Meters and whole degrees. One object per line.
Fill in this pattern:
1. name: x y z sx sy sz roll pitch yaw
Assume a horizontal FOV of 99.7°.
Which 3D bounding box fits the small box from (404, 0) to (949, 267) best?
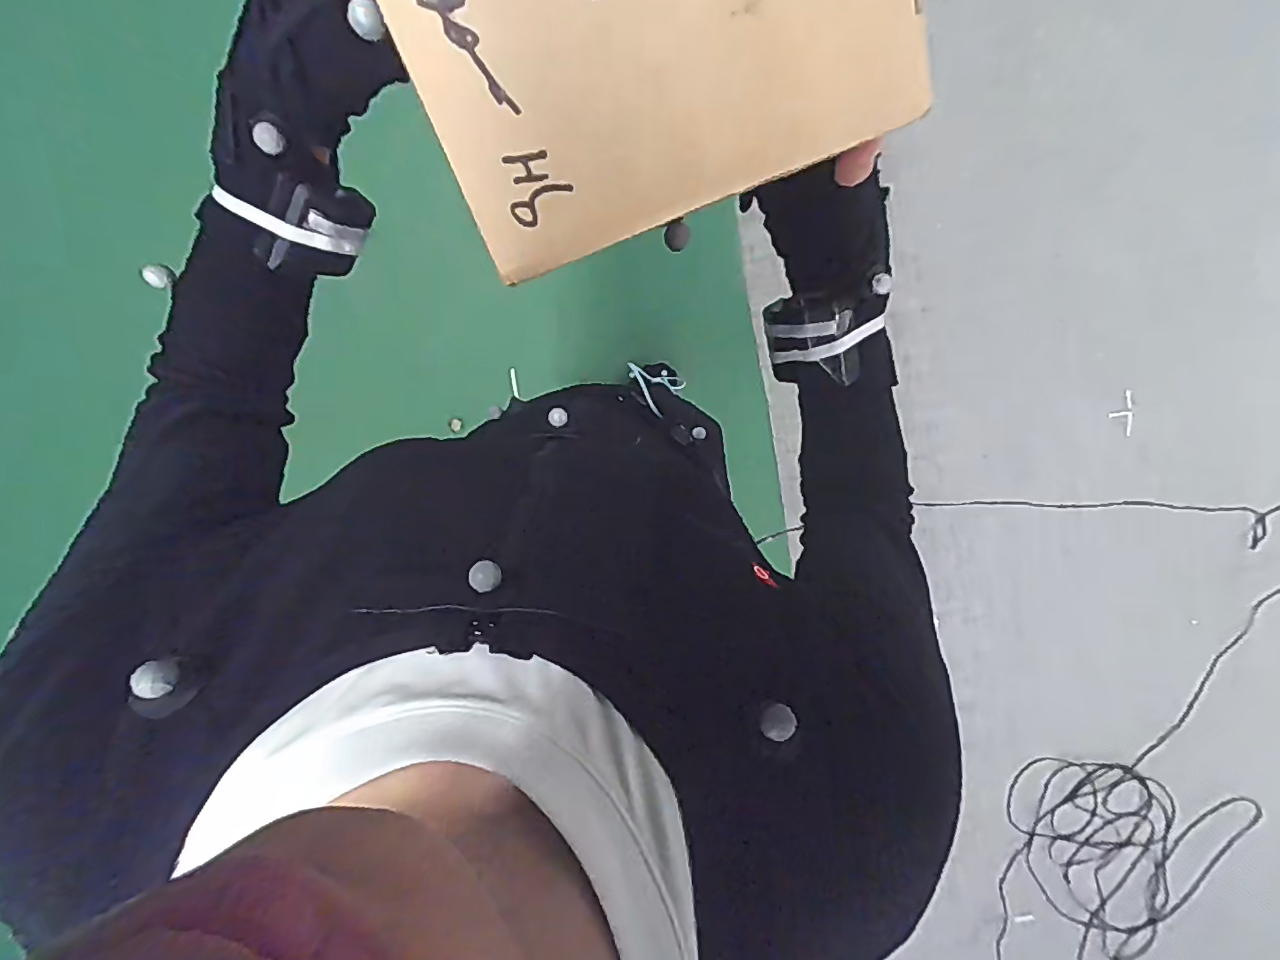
1. small box: -0.001 -0.210 0.242 0.179 0.176 0.168 -20 113 3
